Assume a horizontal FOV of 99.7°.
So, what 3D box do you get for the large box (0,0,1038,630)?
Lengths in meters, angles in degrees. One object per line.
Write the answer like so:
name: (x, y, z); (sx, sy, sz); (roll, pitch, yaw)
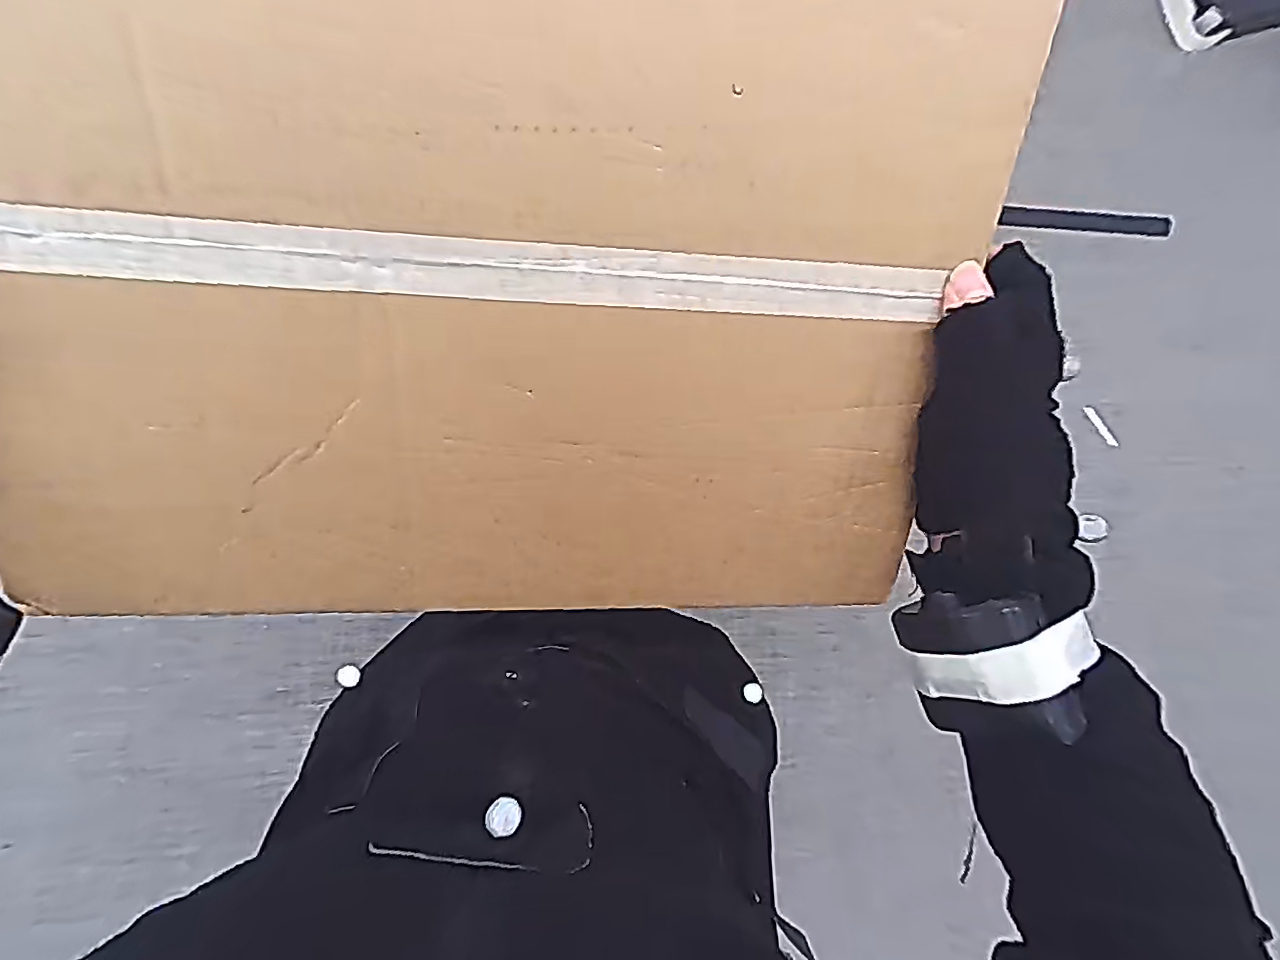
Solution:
large box: (-0.077, -0.130, 0.350); (0.408, 0.320, 0.320); (1, 113, -8)
